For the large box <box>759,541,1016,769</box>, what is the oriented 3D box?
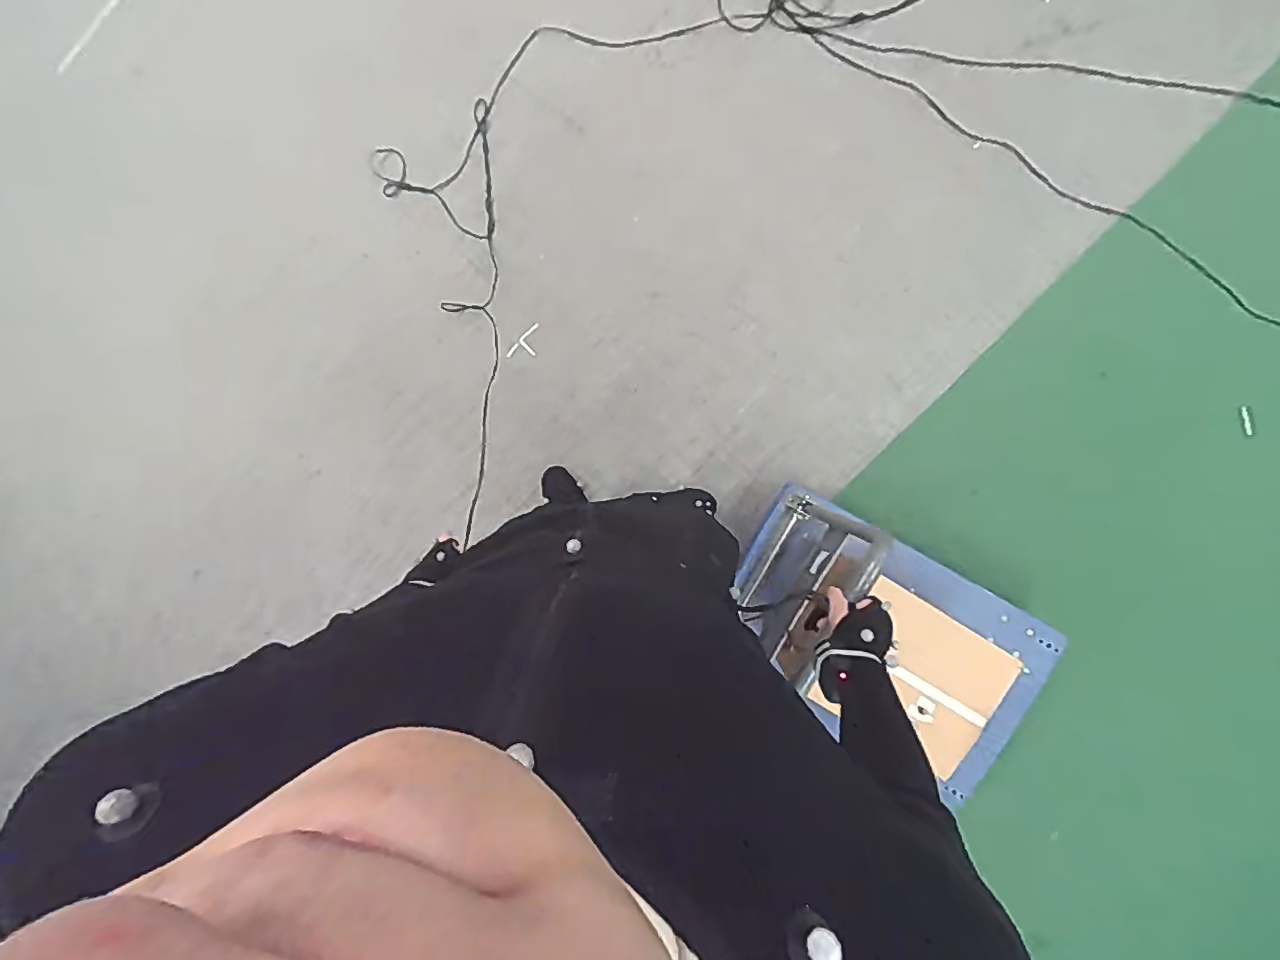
[{"bbox_3d":[0.566,0.396,1.317,0.408,0.320,0.320,32,94,-3],"label":"large box"}]
